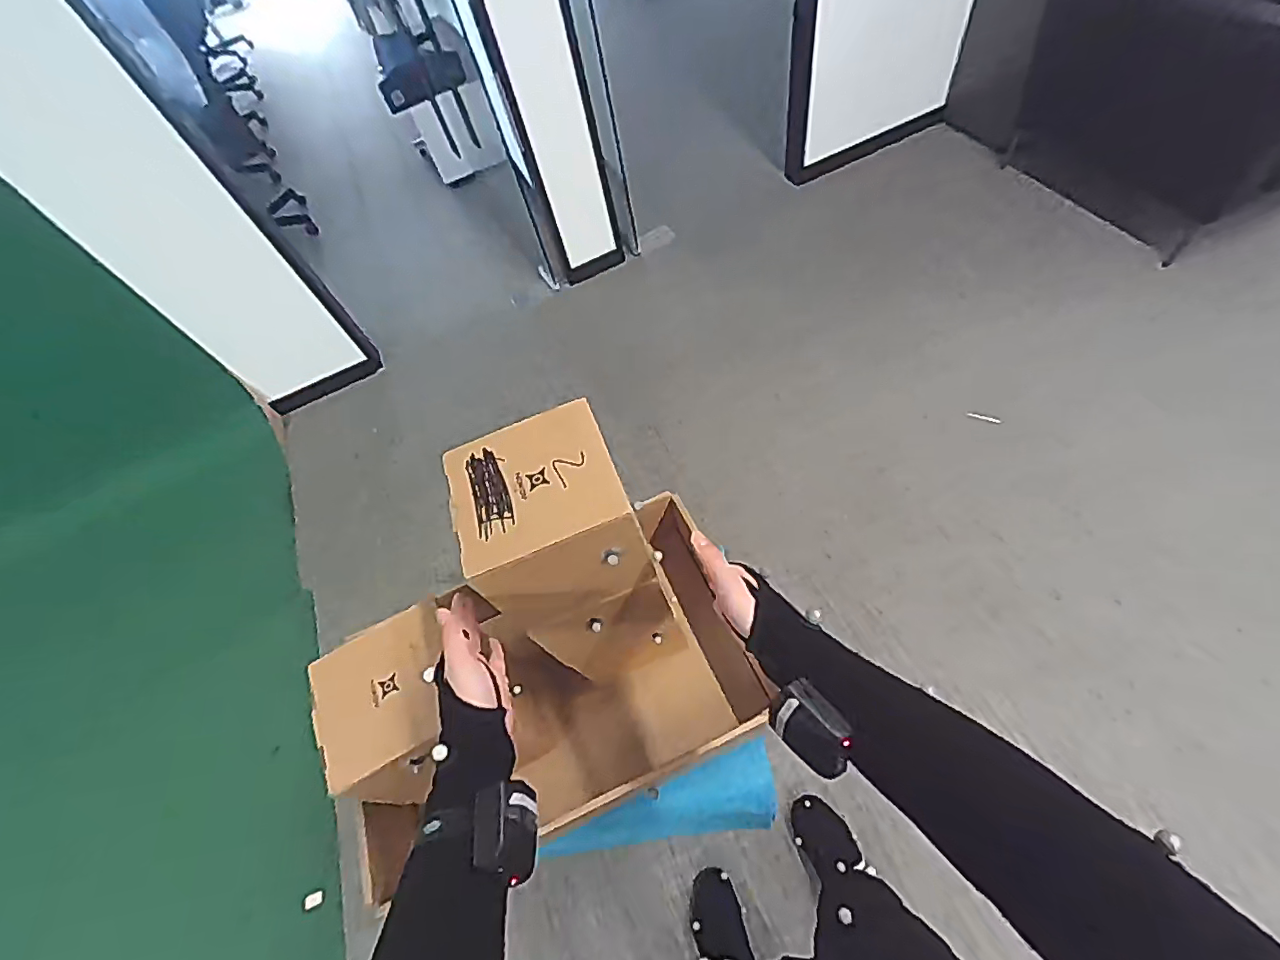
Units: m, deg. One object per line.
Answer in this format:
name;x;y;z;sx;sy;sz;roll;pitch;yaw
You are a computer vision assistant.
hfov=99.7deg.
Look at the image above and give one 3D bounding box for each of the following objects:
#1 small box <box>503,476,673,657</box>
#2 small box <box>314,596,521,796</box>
small box;-0.068;0.129;0.764;0.179;0.176;0.168;-22;57;-2
small box;-0.285;0.289;0.711;0.179;0.176;0.168;-28;57;-8
